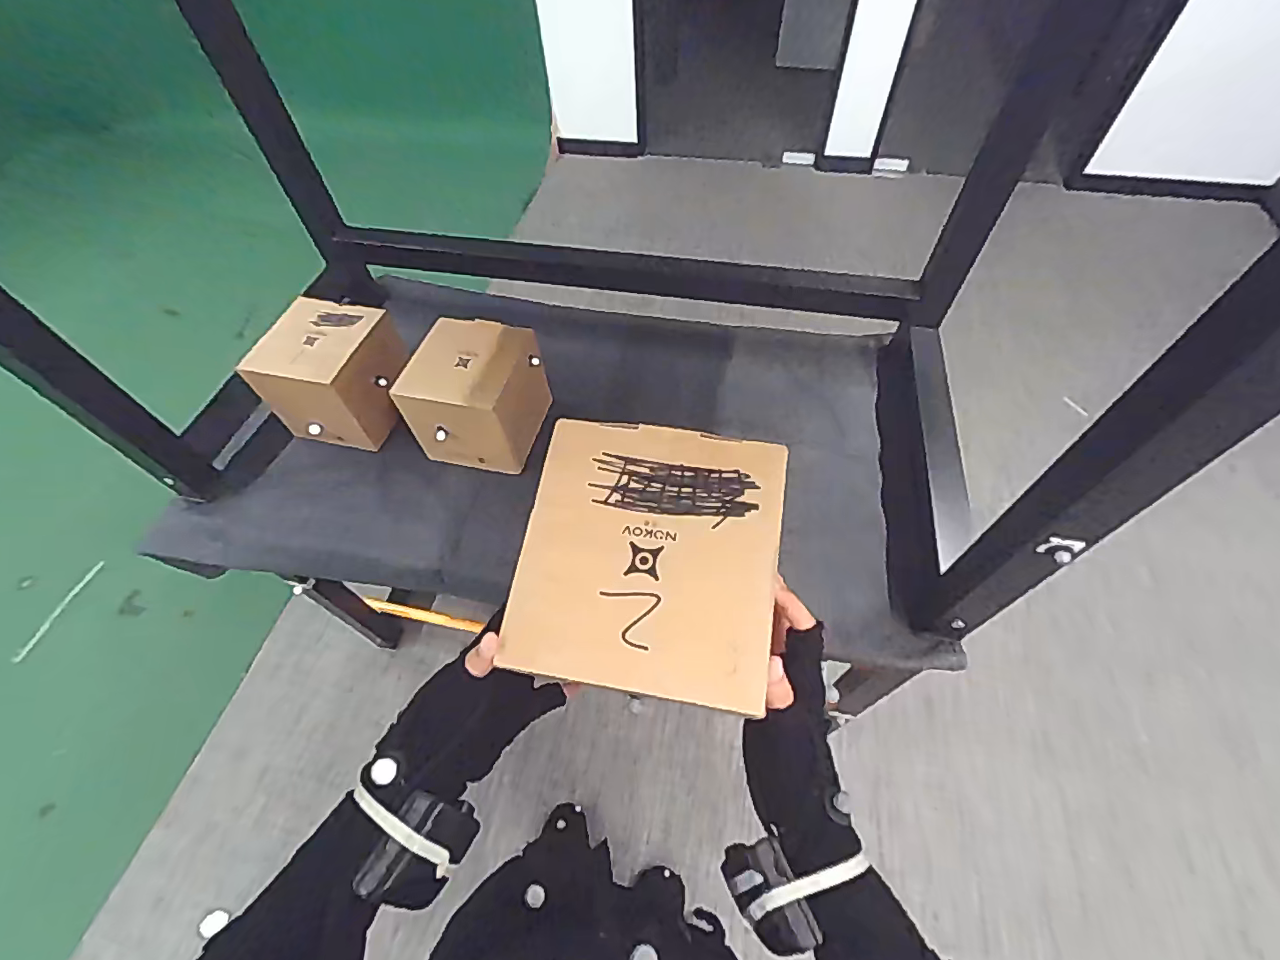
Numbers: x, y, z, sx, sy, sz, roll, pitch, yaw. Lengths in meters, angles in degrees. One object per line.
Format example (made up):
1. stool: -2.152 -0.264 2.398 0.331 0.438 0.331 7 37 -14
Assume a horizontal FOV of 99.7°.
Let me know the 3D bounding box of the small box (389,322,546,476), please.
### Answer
1. small box: -0.266 -0.129 0.885 0.168 0.176 0.179 10 56 9

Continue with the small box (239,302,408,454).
1. small box: -0.512 -0.171 0.920 0.168 0.176 0.179 10 57 9
